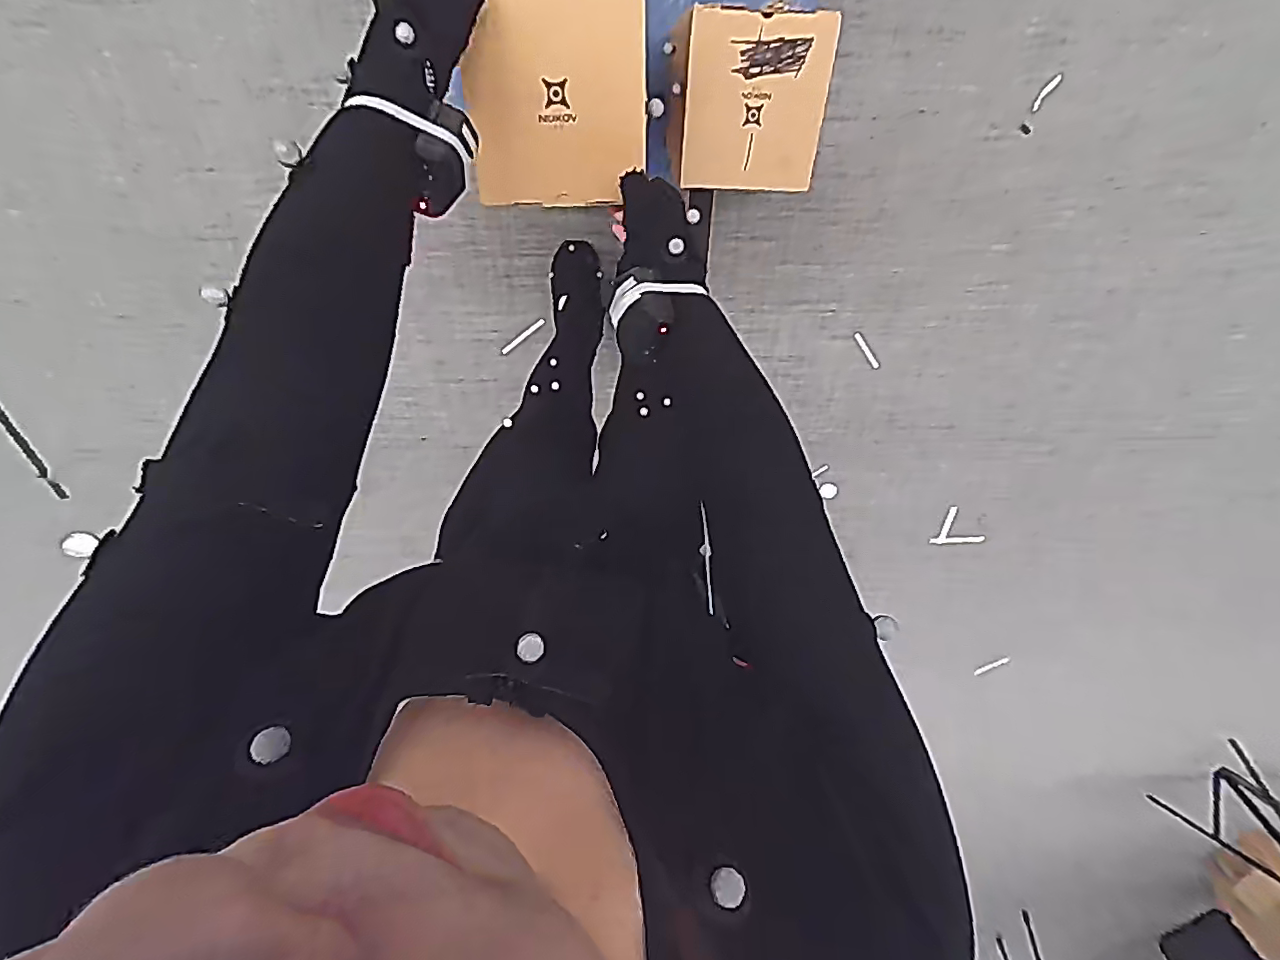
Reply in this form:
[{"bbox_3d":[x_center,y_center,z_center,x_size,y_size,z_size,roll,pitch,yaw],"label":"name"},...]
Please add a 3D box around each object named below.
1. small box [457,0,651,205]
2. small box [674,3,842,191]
[{"bbox_3d":[-0.075,-0.395,0.558,0.168,0.176,0.179,-1,127,0],"label":"small box"},{"bbox_3d":[0.134,-0.486,0.697,0.168,0.176,0.179,1,127,-2],"label":"small box"}]
